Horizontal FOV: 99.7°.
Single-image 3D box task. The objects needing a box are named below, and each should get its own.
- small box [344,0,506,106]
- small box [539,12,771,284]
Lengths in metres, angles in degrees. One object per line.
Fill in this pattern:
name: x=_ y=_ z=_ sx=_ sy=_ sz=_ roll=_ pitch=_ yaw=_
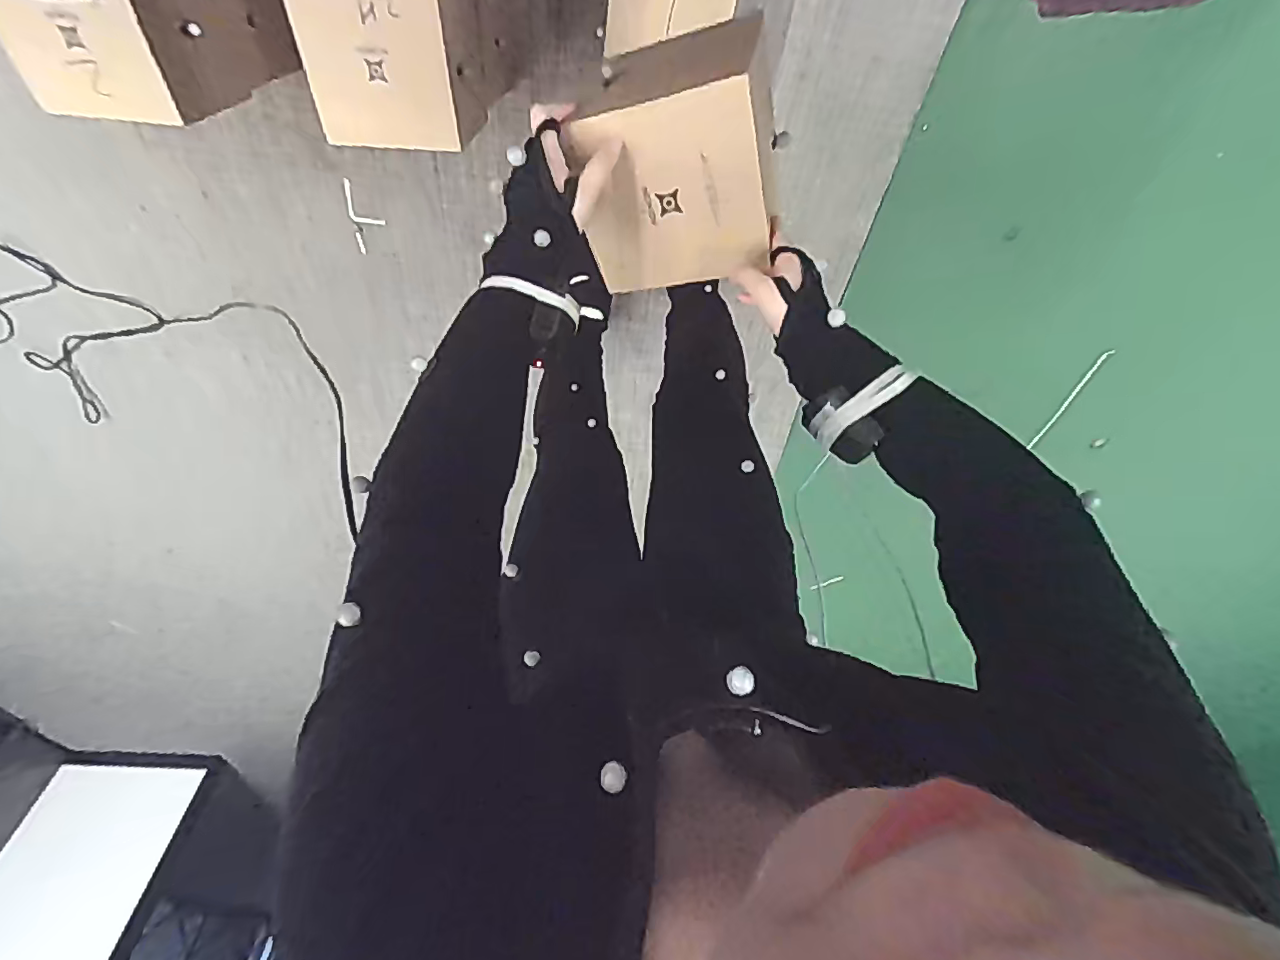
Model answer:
small box: x=-0.303 y=-0.664 z=0.781 sx=0.179 sy=0.176 sz=0.168 roll=4 pitch=136 yaw=-3
small box: x=0.030 y=-0.325 z=0.545 sx=0.179 sy=0.176 sz=0.168 roll=0 pitch=144 yaw=21
